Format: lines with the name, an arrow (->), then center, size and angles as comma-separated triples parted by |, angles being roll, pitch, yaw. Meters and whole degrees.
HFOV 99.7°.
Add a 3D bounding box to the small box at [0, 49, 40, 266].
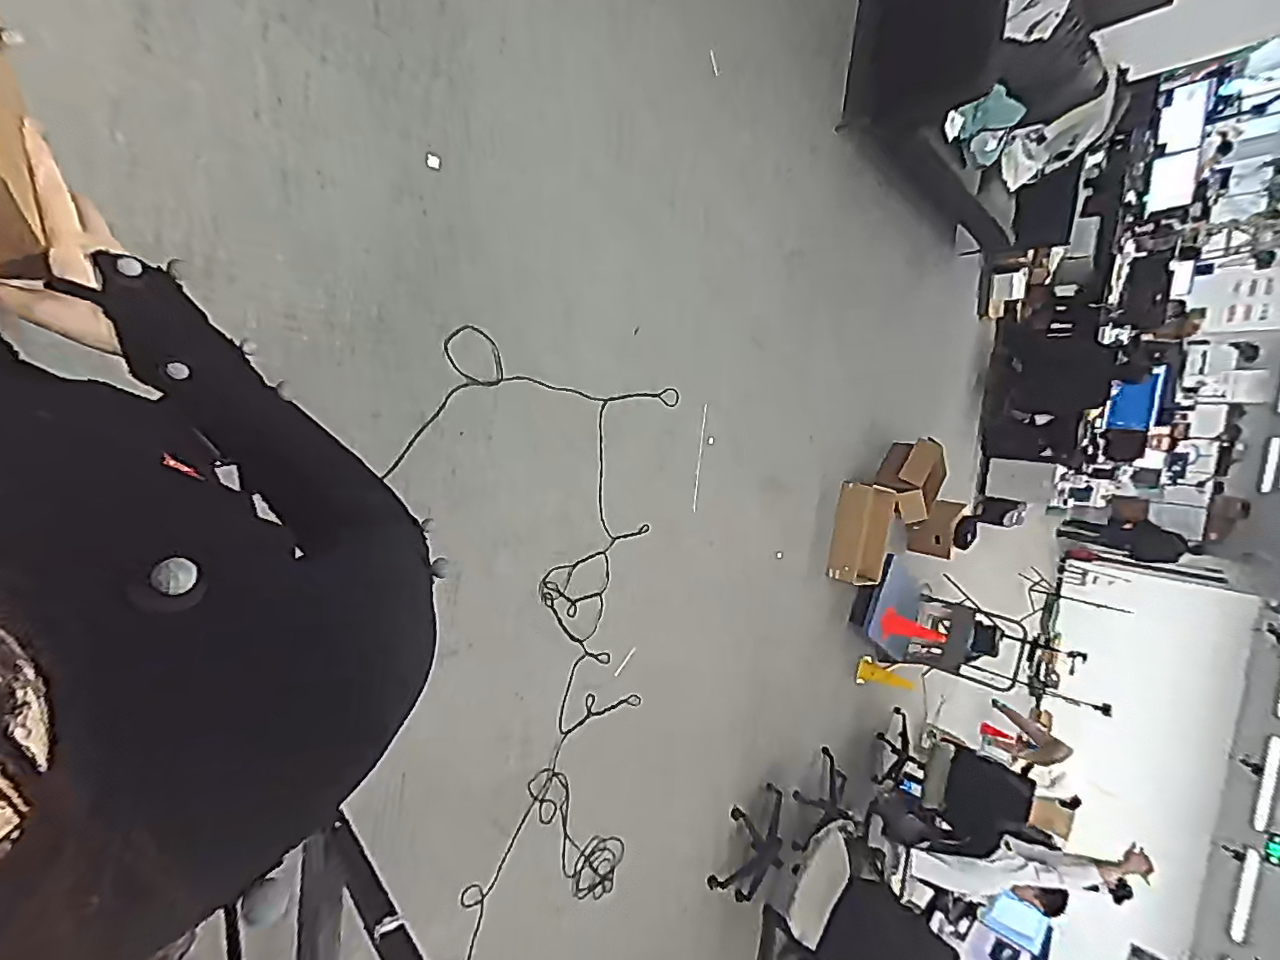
small box -> -0.457, -0.222, 0.275 | 0.179, 0.176, 0.168 | -13, 93, -38
